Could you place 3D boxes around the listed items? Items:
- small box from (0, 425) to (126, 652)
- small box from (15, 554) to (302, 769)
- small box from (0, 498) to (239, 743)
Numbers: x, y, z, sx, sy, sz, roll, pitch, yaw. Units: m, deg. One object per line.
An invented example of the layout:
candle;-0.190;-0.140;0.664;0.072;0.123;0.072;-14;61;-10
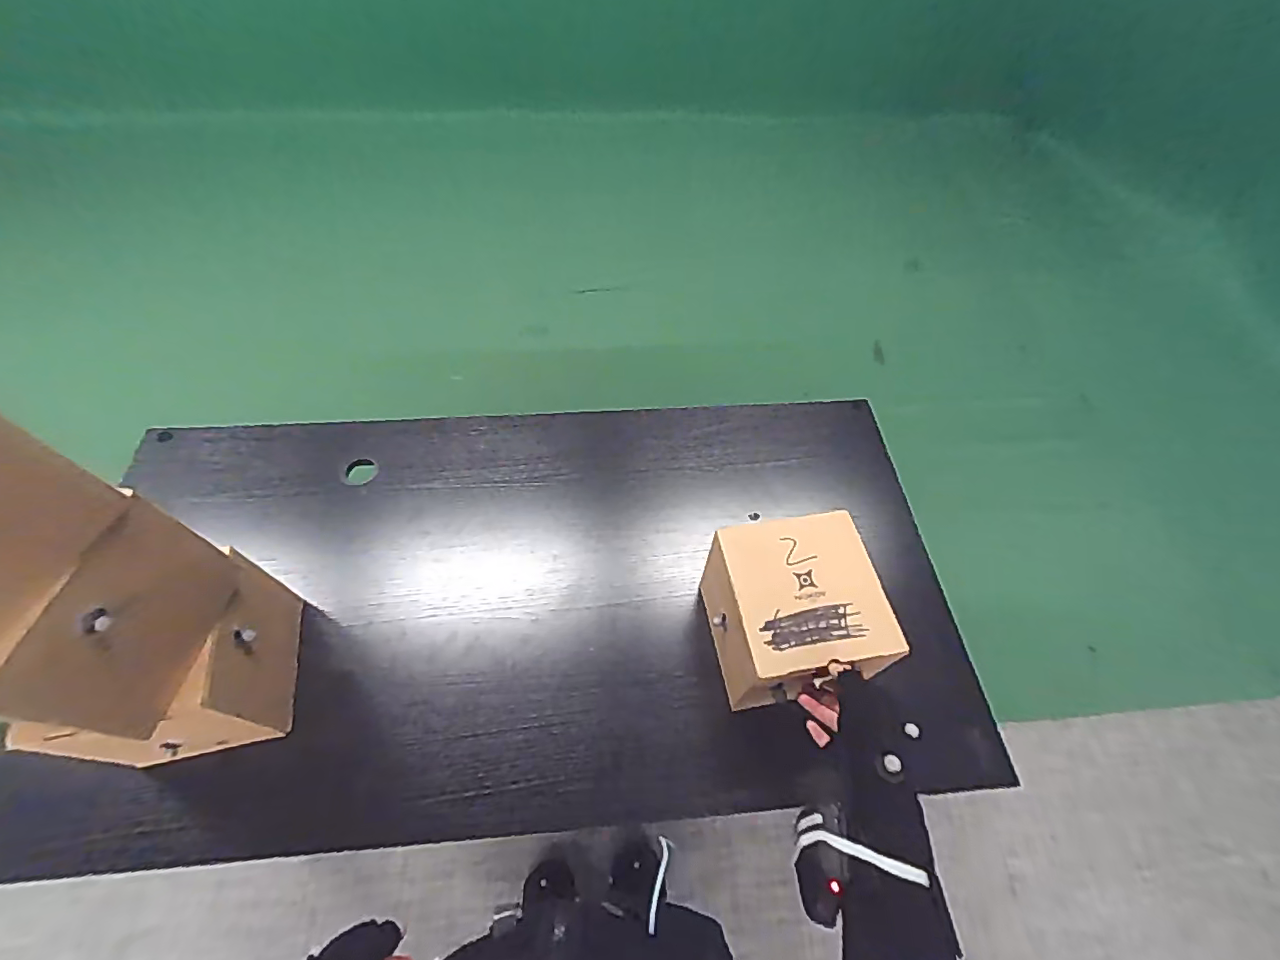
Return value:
small box;-0.507;0.026;0.341;0.168;0.176;0.179;18;60;7
small box;-0.513;0.209;0.614;0.168;0.176;0.179;-10;59;-9
small box;-0.510;0.120;0.476;0.168;0.176;0.179;8;57;2
